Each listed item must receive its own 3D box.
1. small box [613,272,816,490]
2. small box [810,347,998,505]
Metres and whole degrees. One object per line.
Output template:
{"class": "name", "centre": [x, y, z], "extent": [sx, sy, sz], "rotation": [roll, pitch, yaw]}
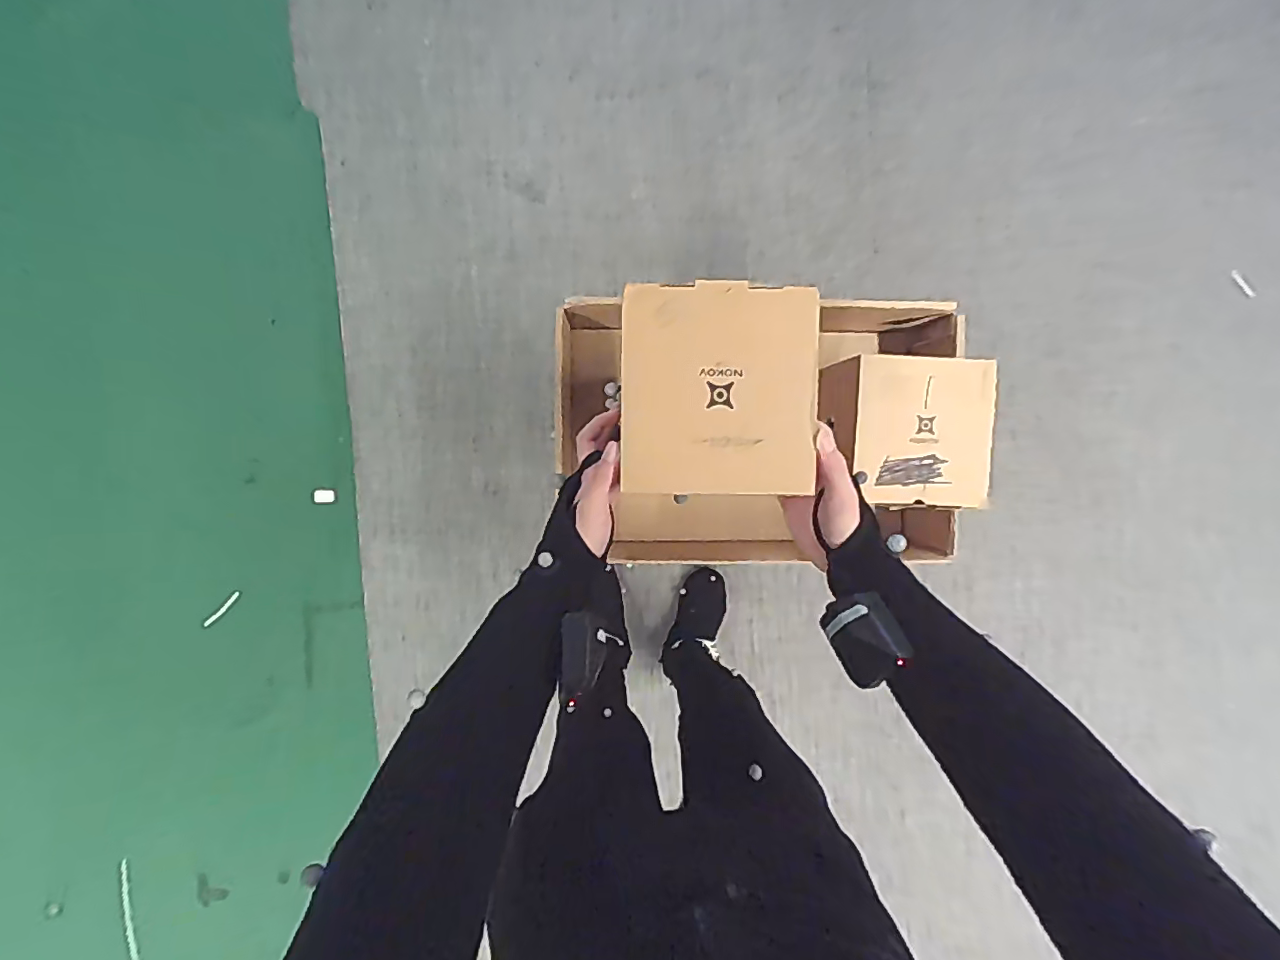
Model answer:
{"class": "small box", "centre": [0.058, -0.082, 0.520], "extent": [0.168, 0.176, 0.179], "rotation": [1, 92, -1]}
{"class": "small box", "centre": [0.319, -0.065, 0.696], "extent": [0.168, 0.176, 0.179], "rotation": [2, 92, -3]}
